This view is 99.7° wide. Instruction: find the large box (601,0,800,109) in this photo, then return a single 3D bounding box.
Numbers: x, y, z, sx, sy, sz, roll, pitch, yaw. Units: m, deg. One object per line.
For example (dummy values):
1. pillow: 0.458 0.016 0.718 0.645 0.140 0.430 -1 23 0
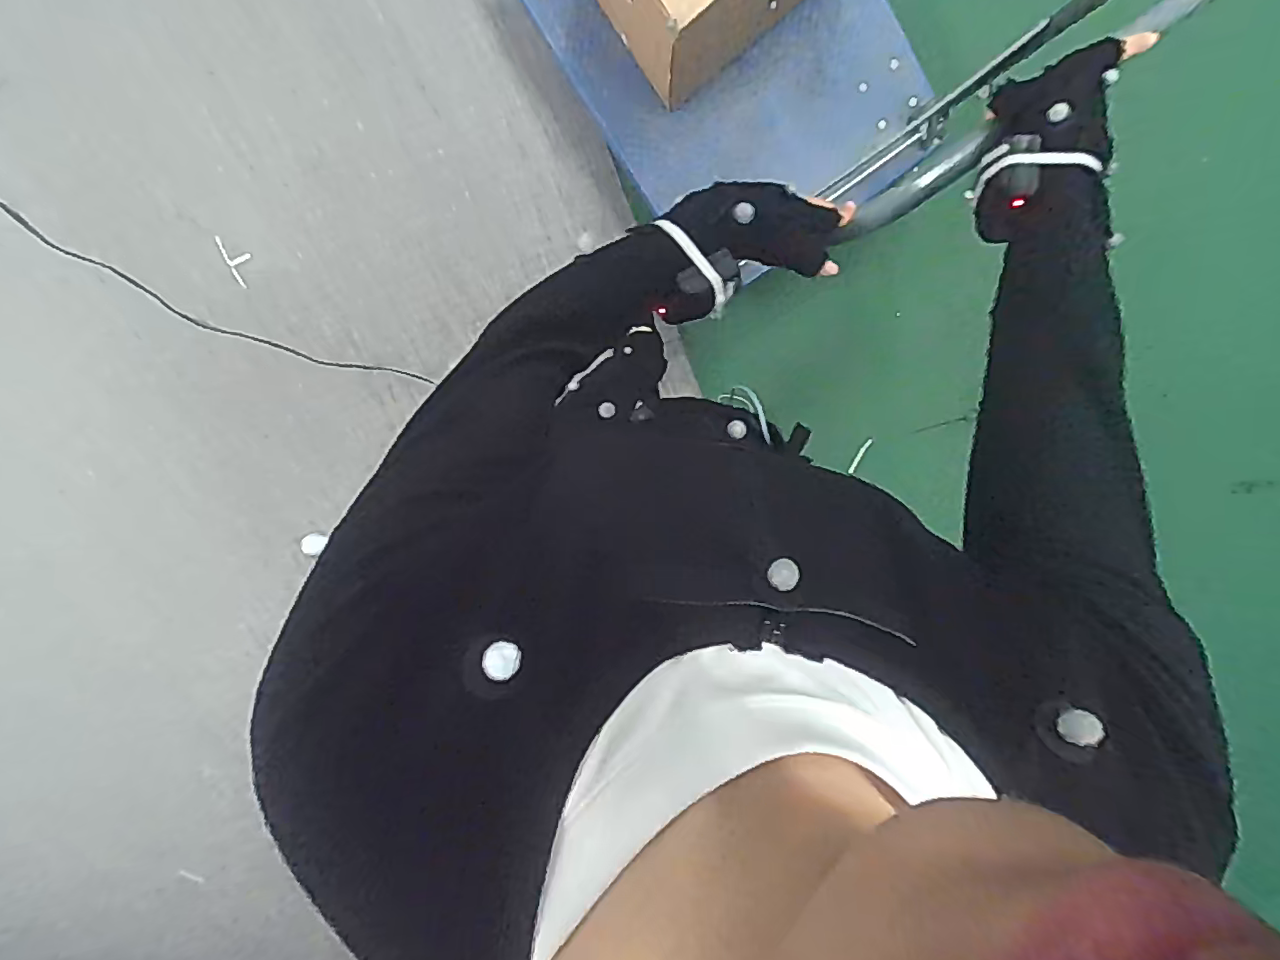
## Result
1. large box: 0.131 -0.942 0.894 0.408 0.320 0.320 -36 100 11
